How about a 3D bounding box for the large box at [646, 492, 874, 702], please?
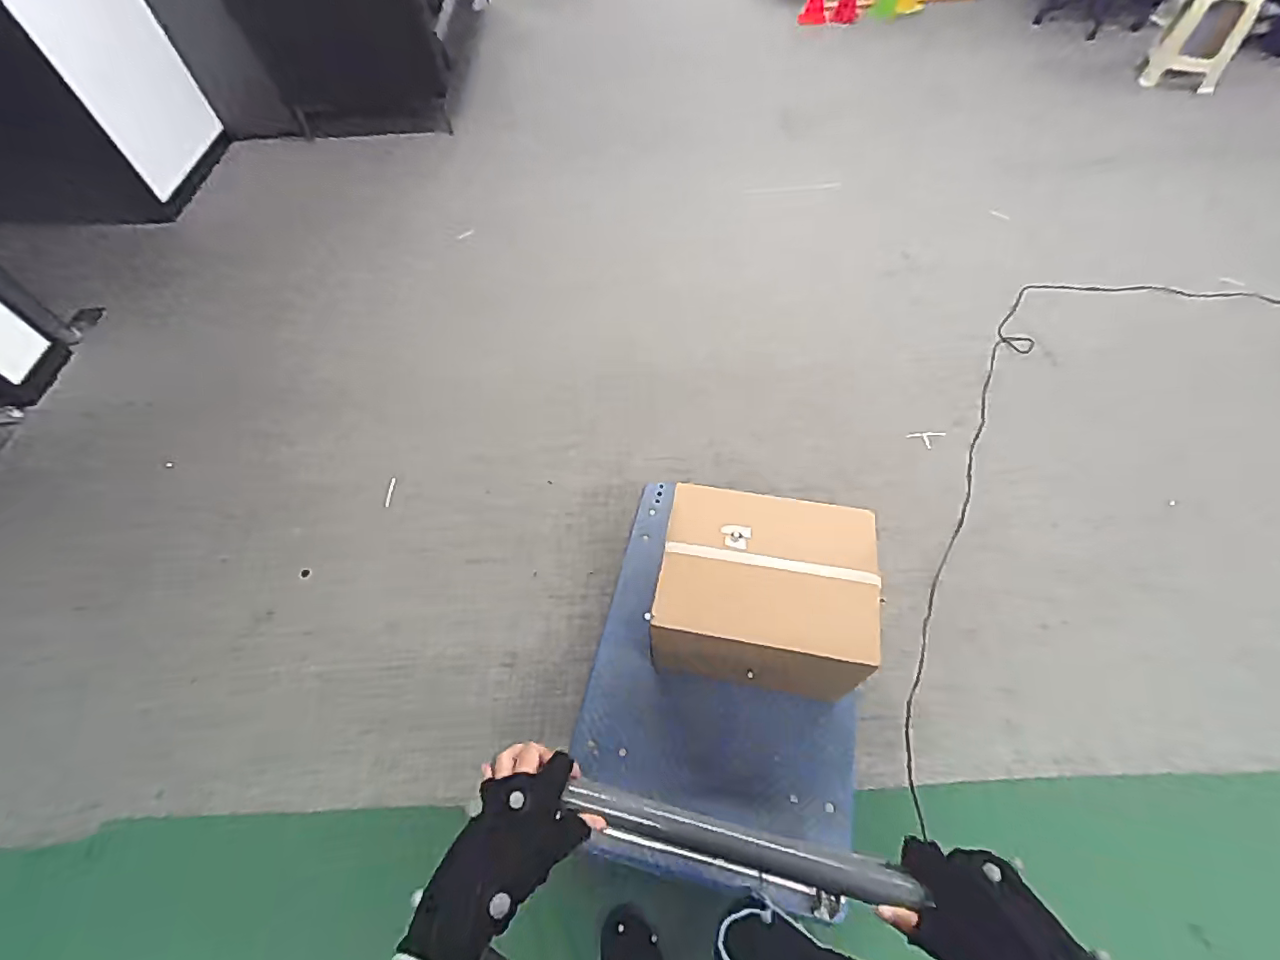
[{"bbox_3d":[0.246,0.255,1.152,0.408,0.320,0.320,8,56,10],"label":"large box"}]
